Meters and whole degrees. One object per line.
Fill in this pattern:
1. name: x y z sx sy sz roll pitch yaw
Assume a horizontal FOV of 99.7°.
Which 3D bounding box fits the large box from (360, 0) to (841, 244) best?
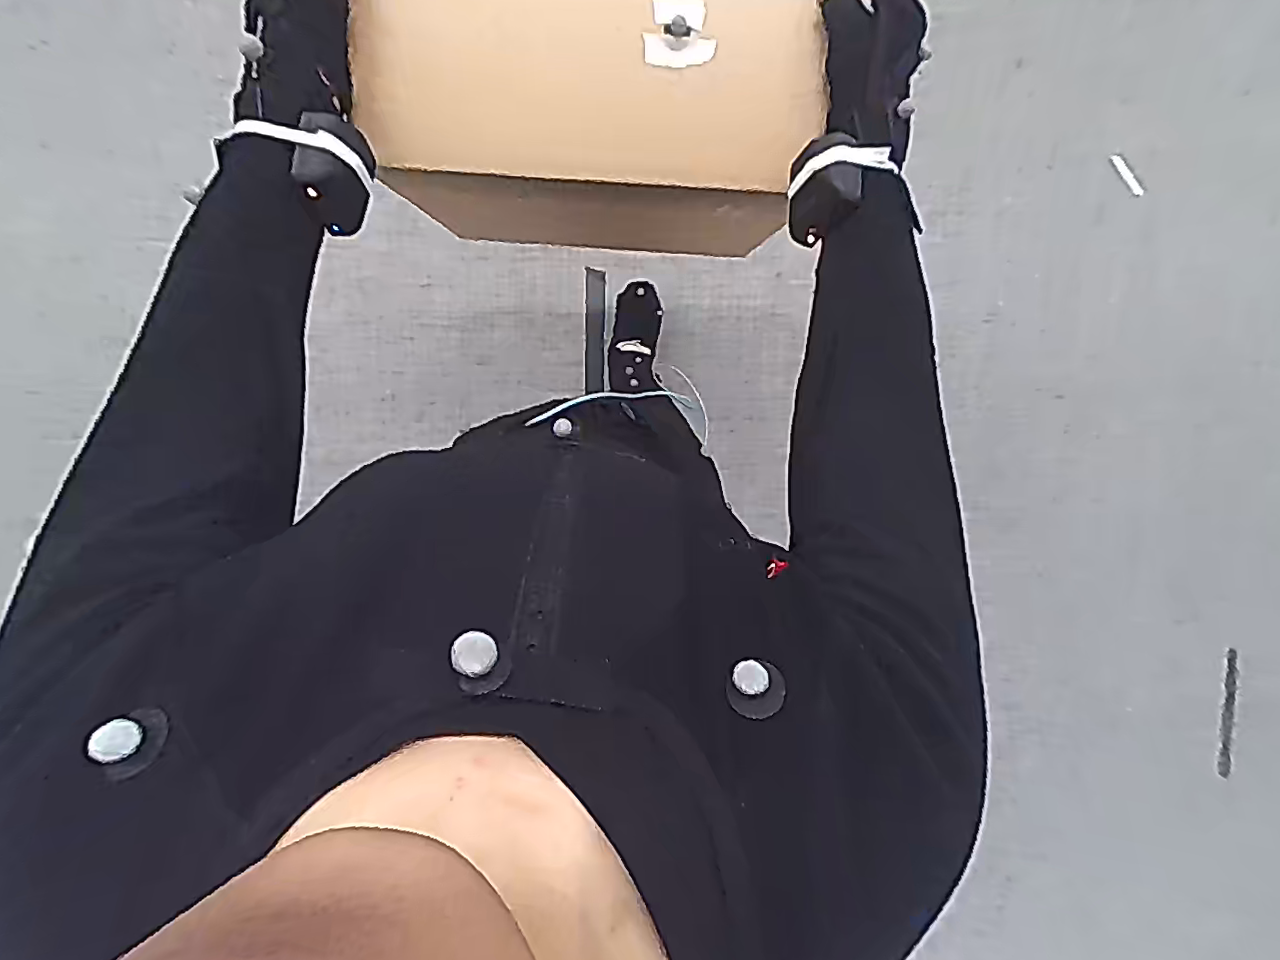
1. large box: -0.036 -0.454 0.584 0.408 0.320 0.320 2 104 -3
